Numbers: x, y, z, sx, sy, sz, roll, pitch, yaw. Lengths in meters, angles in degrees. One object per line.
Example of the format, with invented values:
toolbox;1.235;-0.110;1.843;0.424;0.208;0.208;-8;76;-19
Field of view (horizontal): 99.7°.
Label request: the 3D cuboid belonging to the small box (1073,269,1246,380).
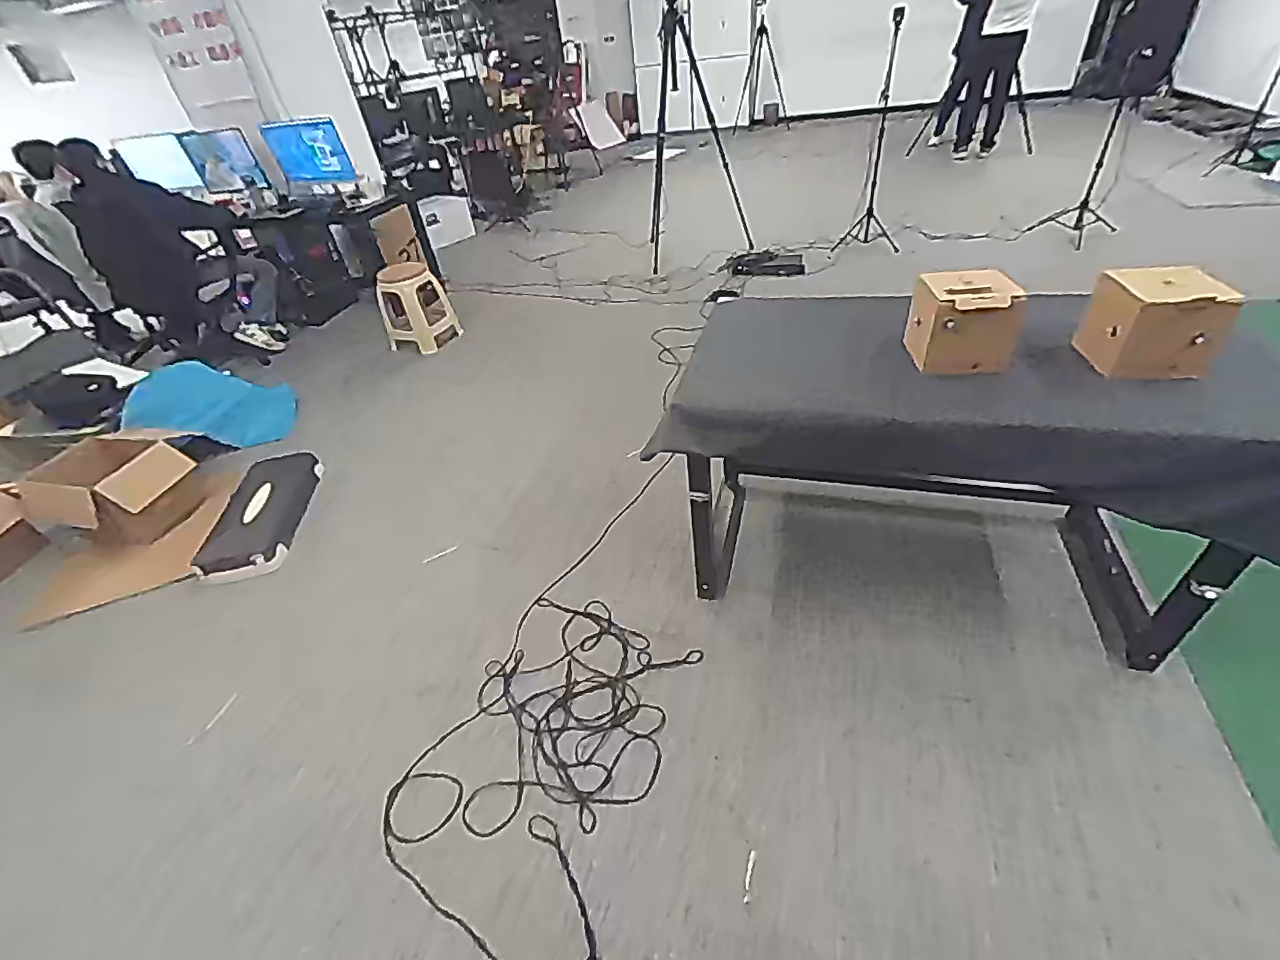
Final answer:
small box;1.040;-0.314;1.103;0.168;0.176;0.179;2;39;10
